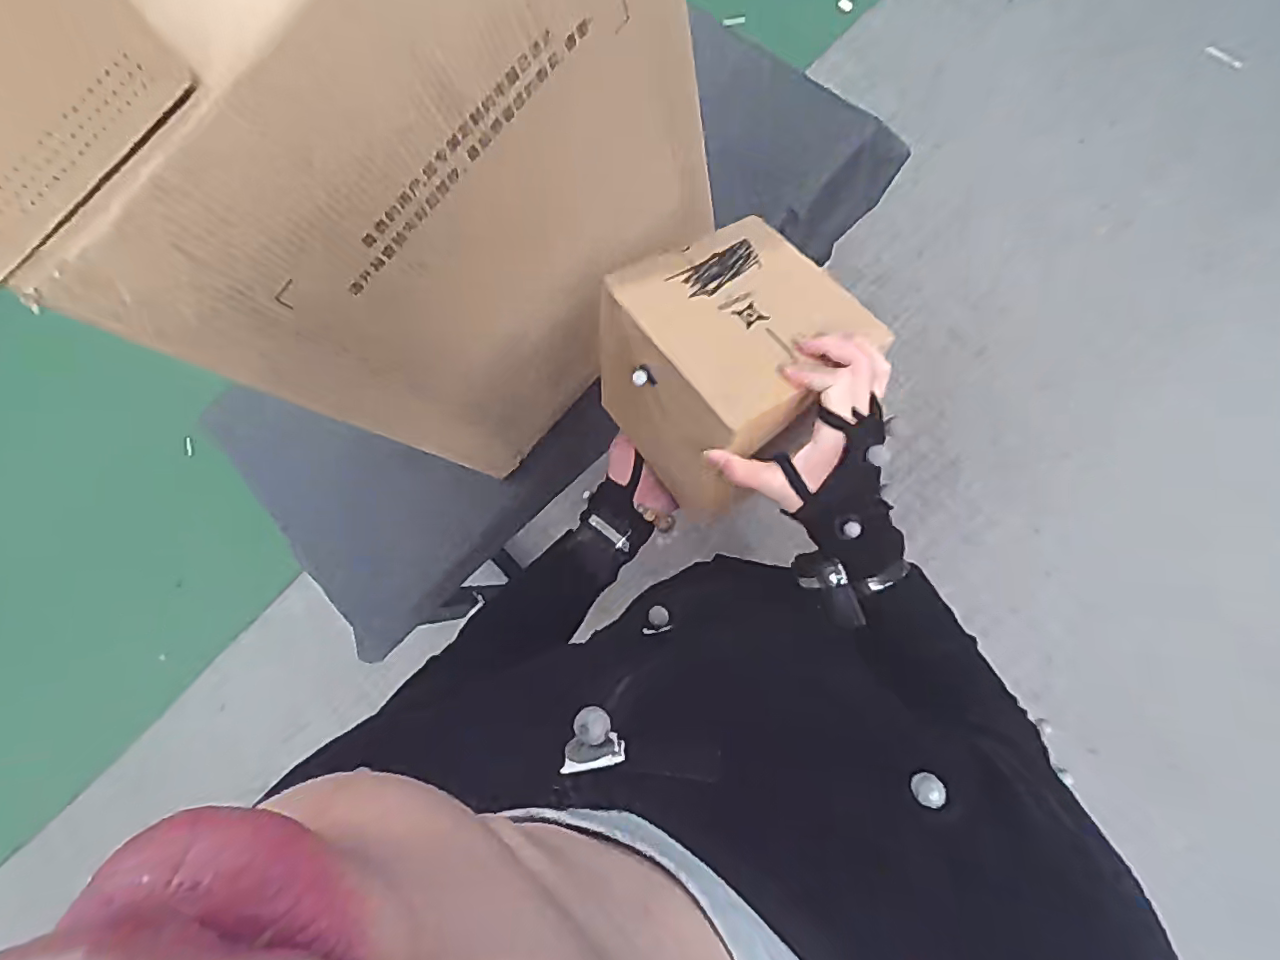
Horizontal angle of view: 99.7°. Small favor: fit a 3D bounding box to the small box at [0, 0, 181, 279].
[{"bbox_3d":[-0.377,-0.227,0.247,0.179,0.176,0.168,-43,77,3],"label":"small box"}]
